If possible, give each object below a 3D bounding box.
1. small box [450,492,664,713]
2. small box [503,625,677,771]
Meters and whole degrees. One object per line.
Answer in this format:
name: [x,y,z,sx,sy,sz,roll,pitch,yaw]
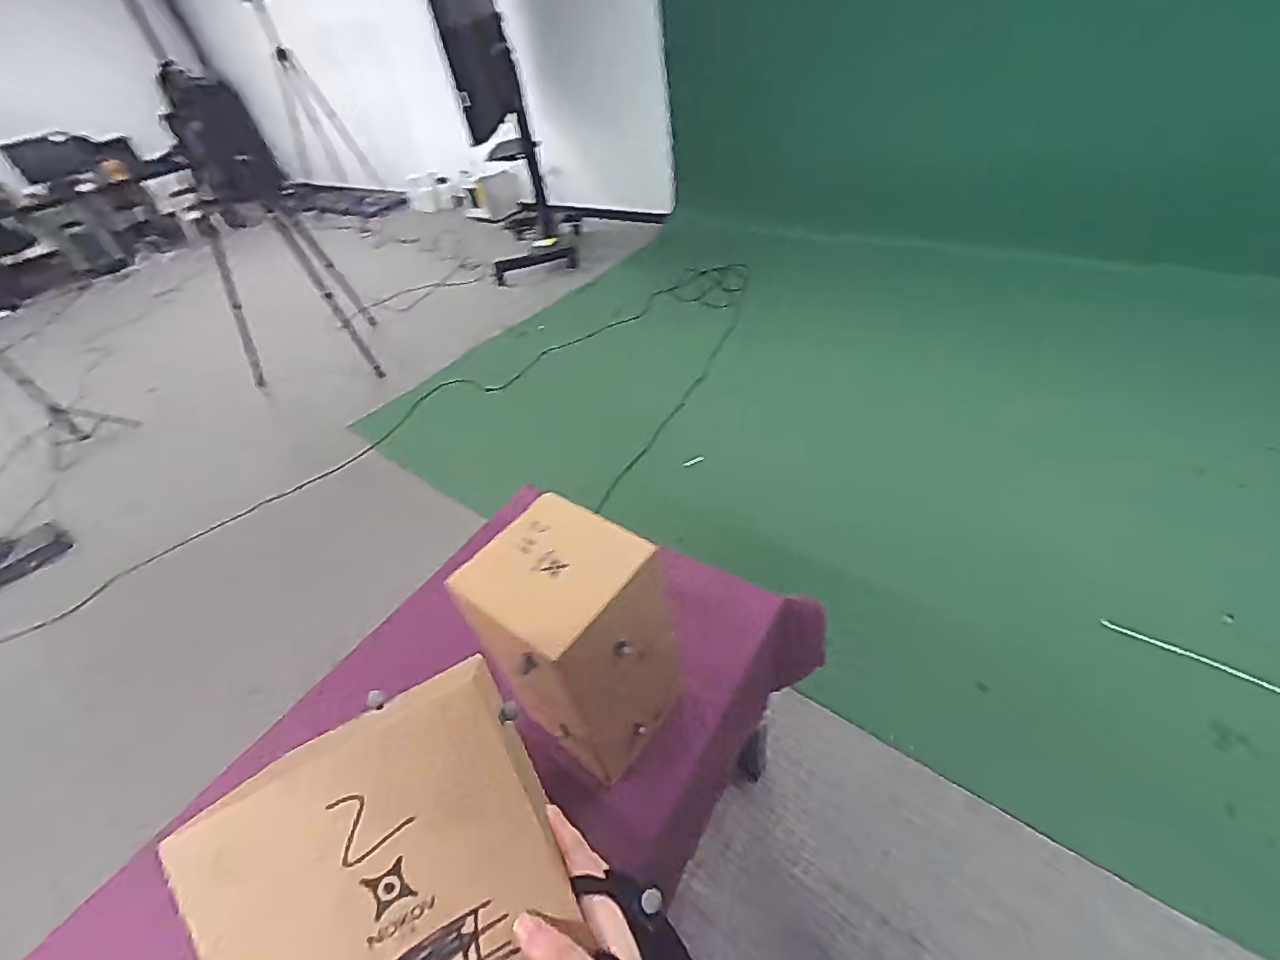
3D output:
small box: [-0.088,0.151,0.655,0.179,0.176,0.168,23,52,32]
small box: [-0.066,0.272,0.765,0.179,0.176,0.168,25,53,32]
